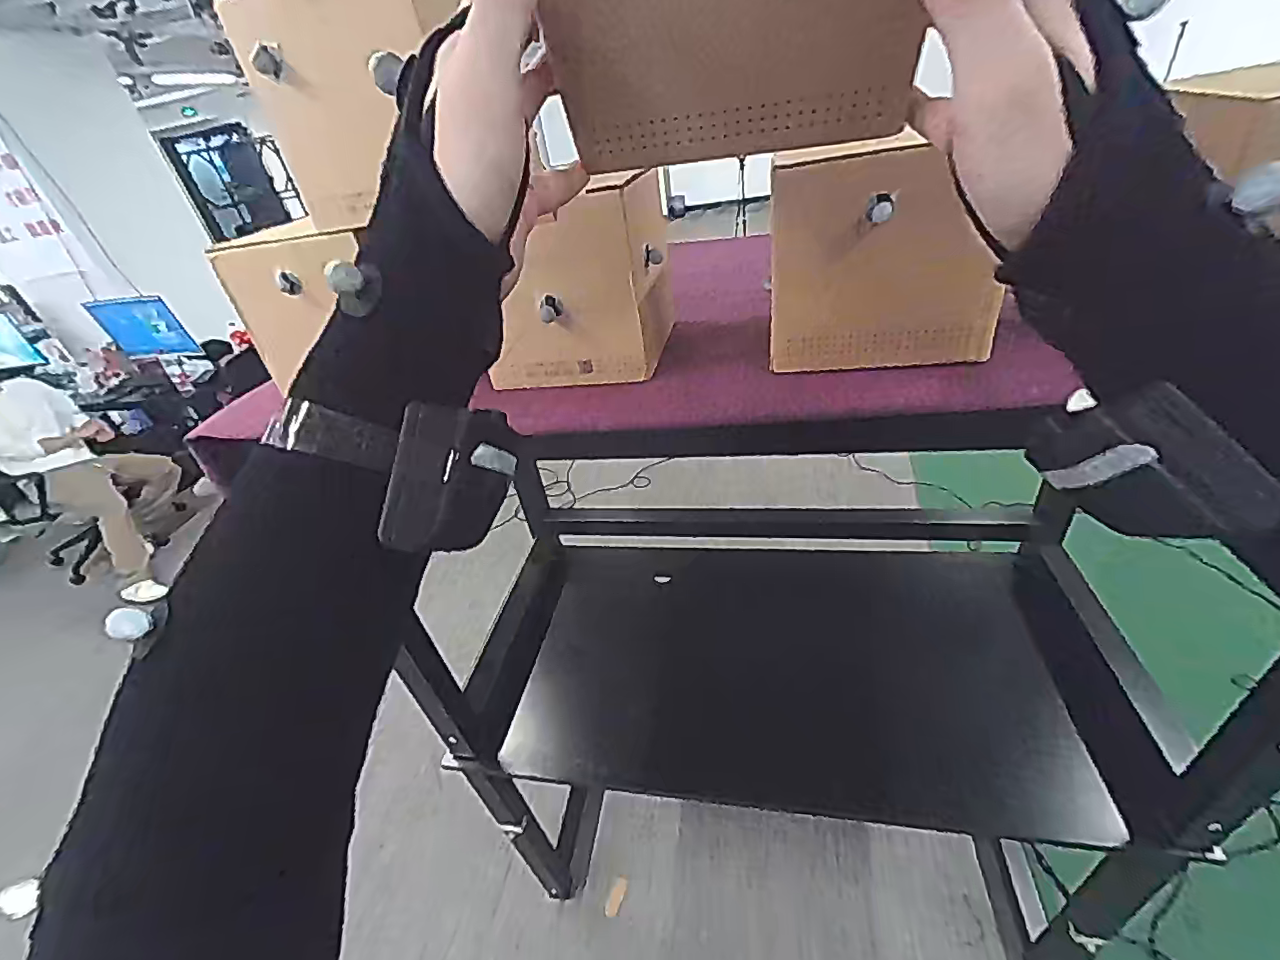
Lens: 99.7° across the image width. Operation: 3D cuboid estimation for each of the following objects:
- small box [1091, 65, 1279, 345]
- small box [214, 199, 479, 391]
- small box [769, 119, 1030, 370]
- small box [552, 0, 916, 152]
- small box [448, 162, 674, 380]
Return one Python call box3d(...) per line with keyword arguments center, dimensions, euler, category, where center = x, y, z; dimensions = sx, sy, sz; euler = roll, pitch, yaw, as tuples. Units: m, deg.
box3d(center=(0.488, -0.212, 0.414), dimensions=(0.179, 0.176, 0.168), euler=(2, 37, 18), category="small box")
box3d(center=(-0.316, -0.210, 0.623), dimensions=(0.179, 0.176, 0.168), euler=(0, 36, 13), category="small box")
box3d(center=(0.210, -0.212, 0.494), dimensions=(0.179, 0.176, 0.168), euler=(-1, 34, 15), category="small box")
box3d(center=(0.045, -0.297, 0.273), dimensions=(0.179, 0.176, 0.168), euler=(0, 65, 11), category="small box")
box3d(center=(-0.062, -0.211, 0.561), dimensions=(0.168, 0.176, 0.179), euler=(-1, 36, 13), category="small box")
